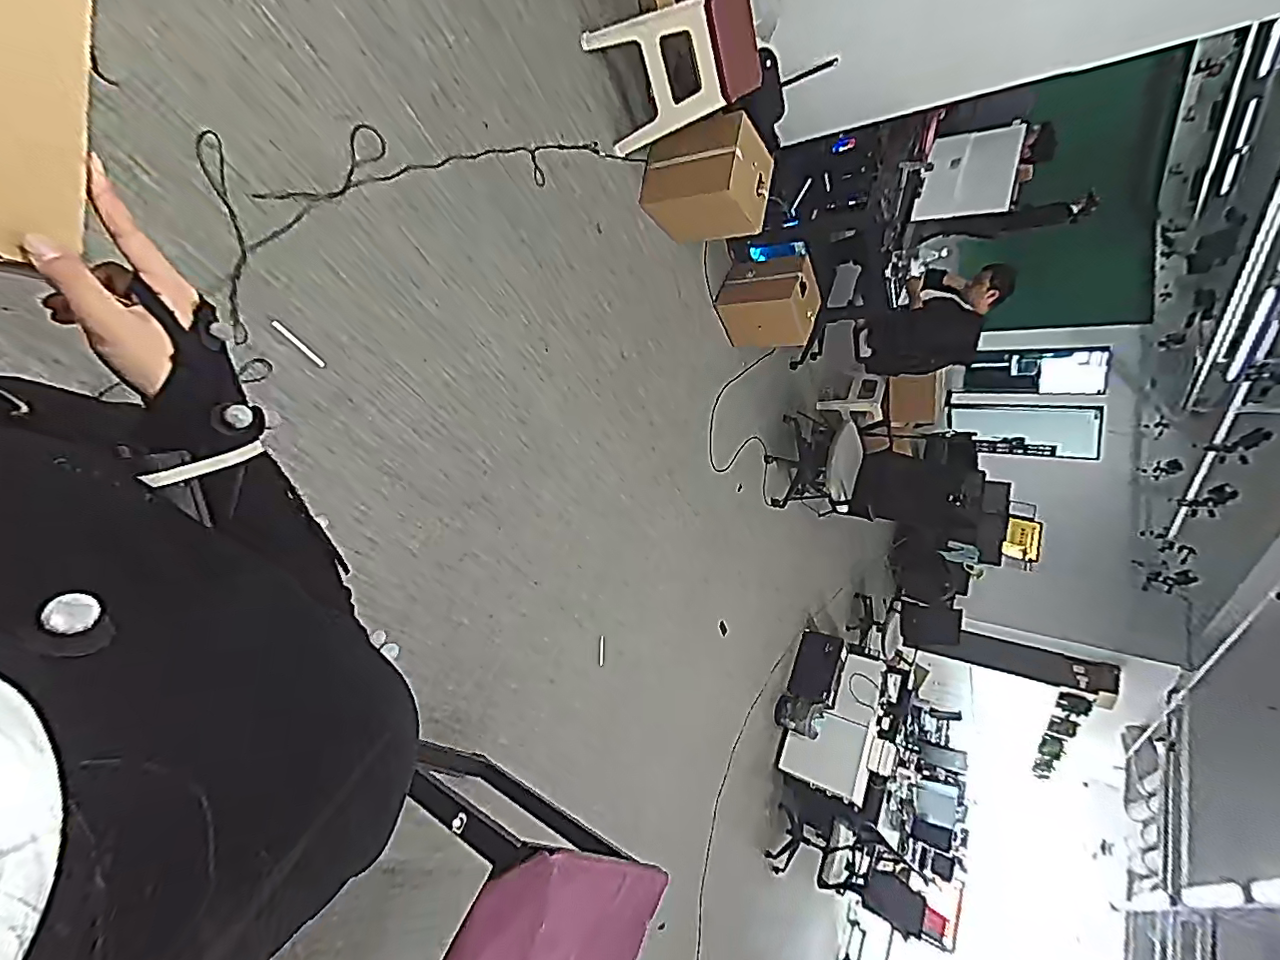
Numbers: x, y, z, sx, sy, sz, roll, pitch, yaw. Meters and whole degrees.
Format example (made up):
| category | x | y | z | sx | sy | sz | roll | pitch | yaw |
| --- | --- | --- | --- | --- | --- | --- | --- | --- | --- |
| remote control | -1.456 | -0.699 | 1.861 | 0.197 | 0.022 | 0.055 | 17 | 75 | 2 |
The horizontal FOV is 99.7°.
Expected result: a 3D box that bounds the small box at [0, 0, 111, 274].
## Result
| category | x | y | z | sx | sy | sz | roll | pitch | yaw |
| --- | --- | --- | --- | --- | --- | --- | --- | --- | --- |
| small box | -0.408 | -0.223 | 0.286 | 0.168 | 0.176 | 0.179 | 2 | 100 | -49 |
